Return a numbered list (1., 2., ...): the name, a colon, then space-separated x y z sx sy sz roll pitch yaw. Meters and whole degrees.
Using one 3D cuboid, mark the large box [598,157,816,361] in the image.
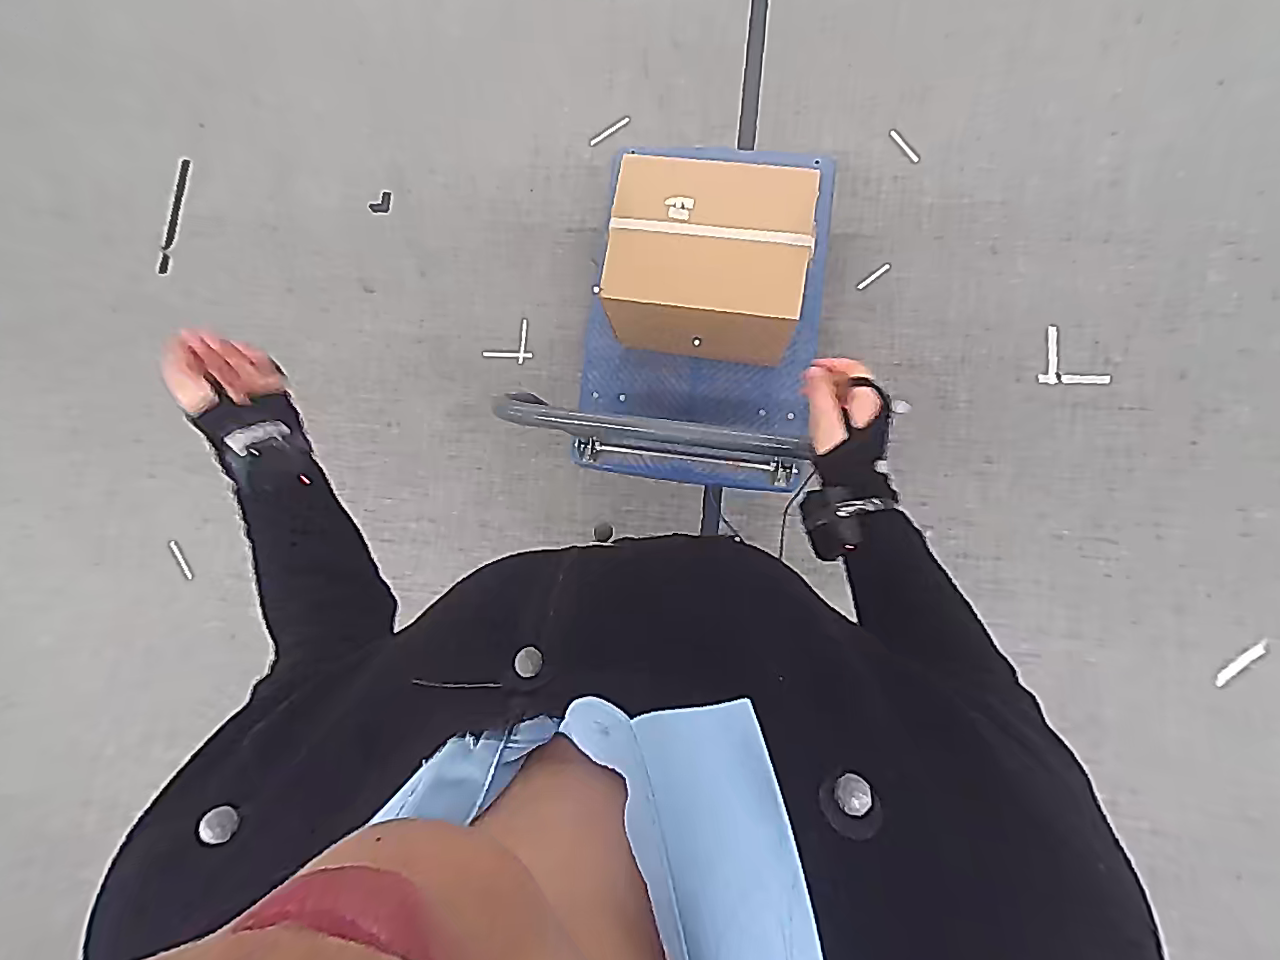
1. large box: 0.152 -0.476 1.218 0.408 0.320 0.320 9 85 8
